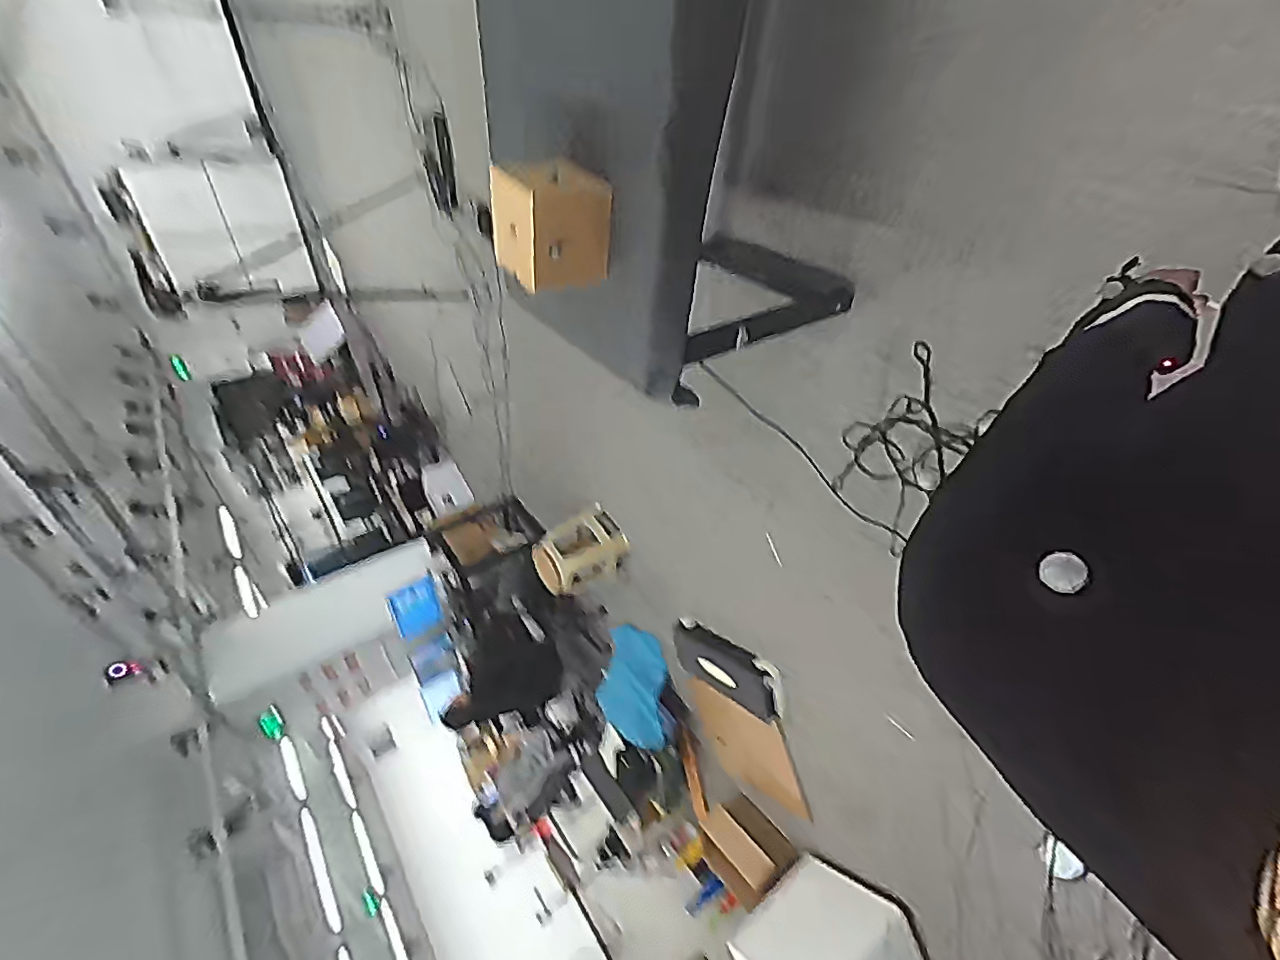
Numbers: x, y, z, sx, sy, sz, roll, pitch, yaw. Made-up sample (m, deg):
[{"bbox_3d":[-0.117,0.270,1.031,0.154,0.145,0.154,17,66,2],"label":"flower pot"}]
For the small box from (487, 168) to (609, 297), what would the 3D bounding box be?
[{"bbox_3d":[-0.174,-0.481,1.038,0.168,0.176,0.179,44,144,32],"label":"small box"}]
